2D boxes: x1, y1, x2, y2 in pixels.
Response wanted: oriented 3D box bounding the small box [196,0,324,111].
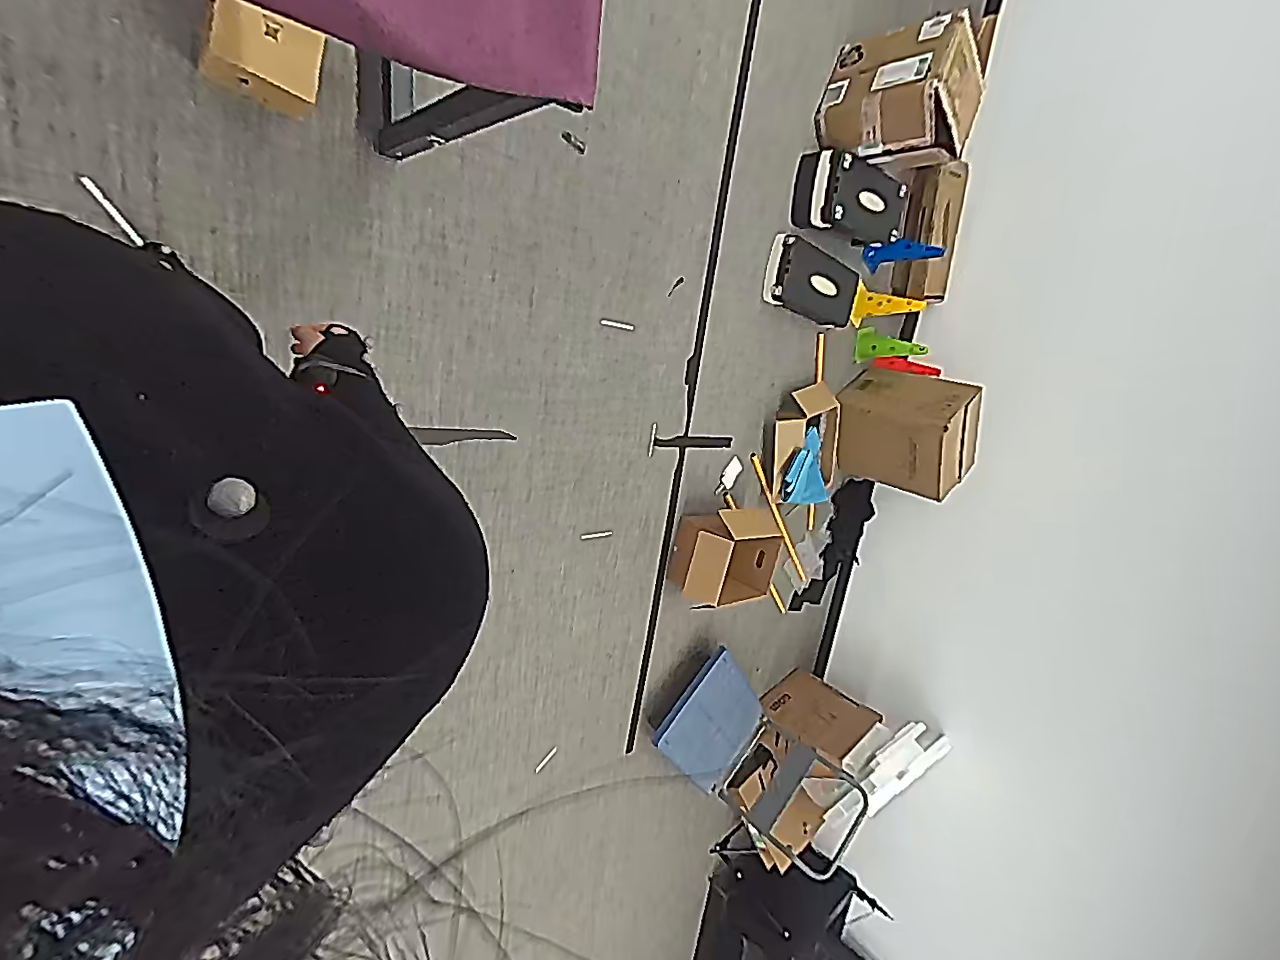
[{"bbox_3d":[-0.730,-0.848,1.034,0.168,0.176,0.179,7,101,-46],"label":"small box"}]
